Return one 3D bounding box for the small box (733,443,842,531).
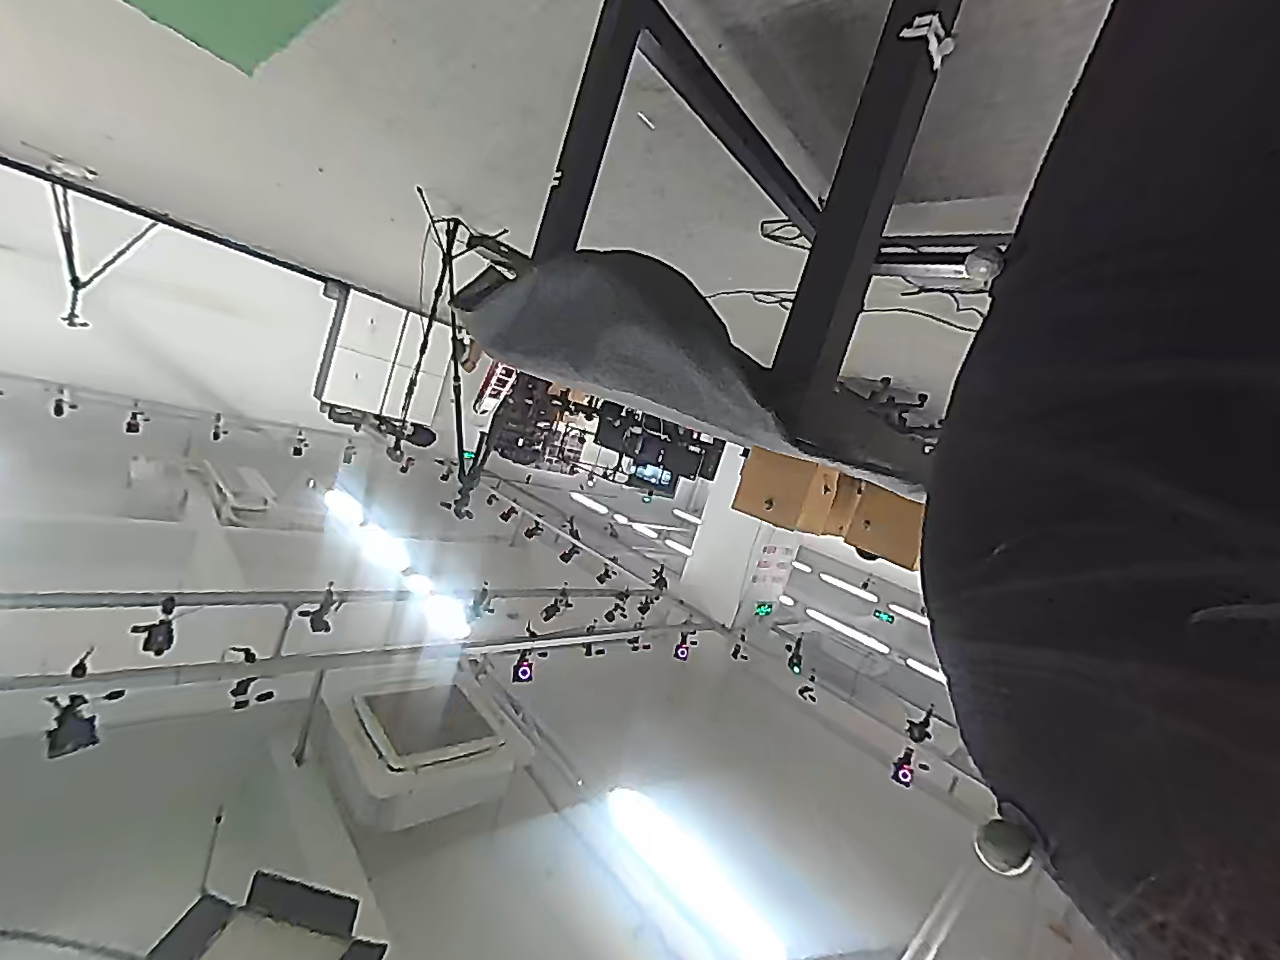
[{"bbox_3d":[0.361,0.013,1.317,0.179,0.176,0.168,21,-174,40],"label":"small box"}]

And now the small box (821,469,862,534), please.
[{"bbox_3d":[0.499,0.039,1.512,0.179,0.176,0.168,23,-172,43],"label":"small box"}]
